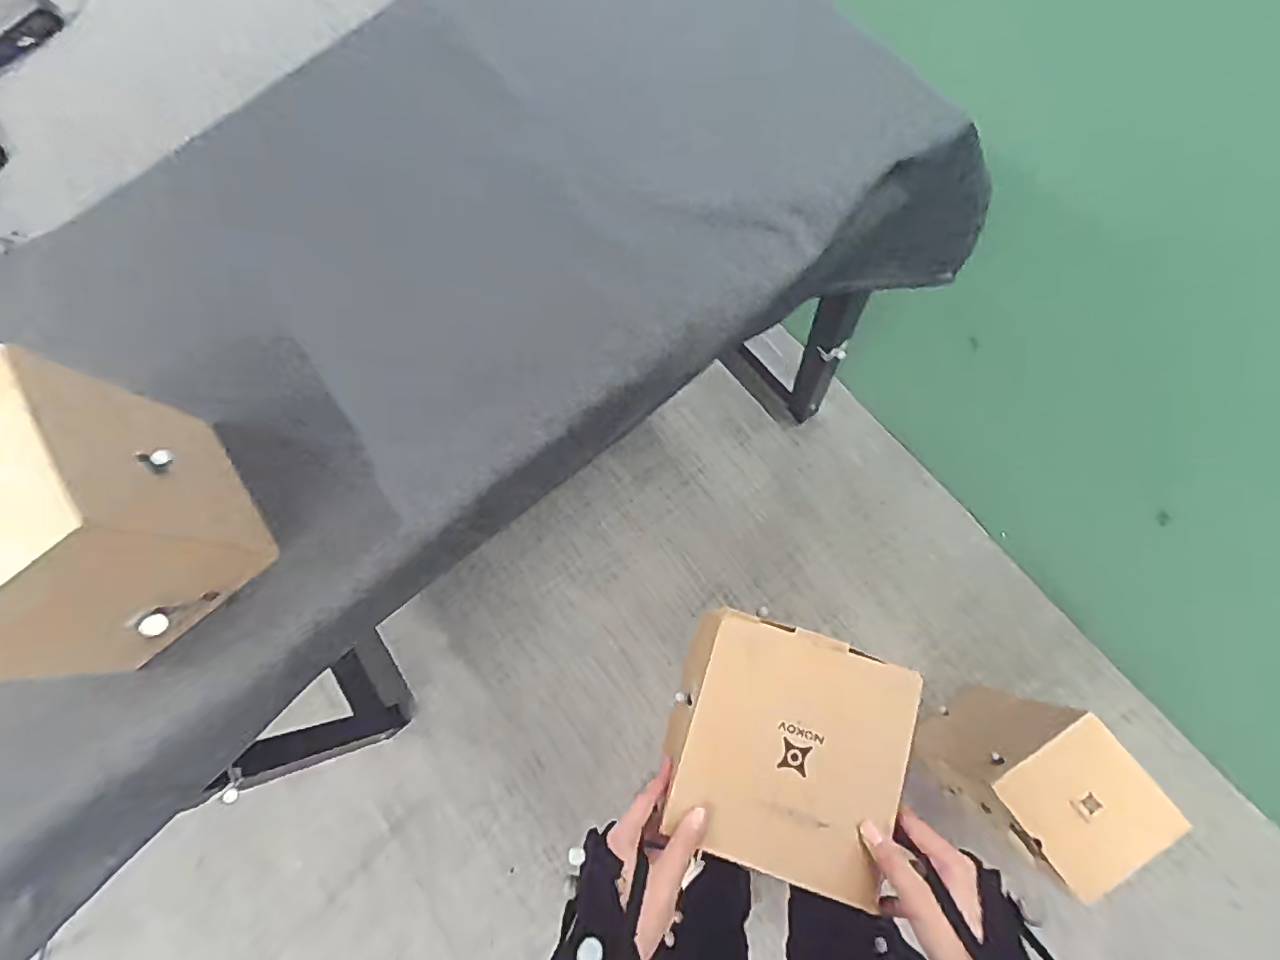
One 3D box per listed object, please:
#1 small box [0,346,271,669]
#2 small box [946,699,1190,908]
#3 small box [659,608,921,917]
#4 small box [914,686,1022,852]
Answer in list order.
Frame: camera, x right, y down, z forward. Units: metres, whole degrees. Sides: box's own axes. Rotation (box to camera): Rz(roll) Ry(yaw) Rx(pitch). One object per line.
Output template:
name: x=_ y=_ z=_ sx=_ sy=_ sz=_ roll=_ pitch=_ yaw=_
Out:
small box: x=-0.453 y=0.036 z=0.432 sx=0.168 sy=0.176 sz=0.179 roll=-39 pitch=74 yaw=-3
small box: x=0.583 y=0.436 z=0.768 sx=0.179 sy=0.176 sz=0.168 roll=-35 pitch=74 yaw=-2
small box: x=0.116 y=0.222 z=0.482 sx=0.168 sy=0.176 sz=0.179 roll=17 pitch=78 yaw=5
small box: x=0.602 y=0.478 z=0.926 sx=0.179 sy=0.176 sz=0.168 roll=-37 pitch=73 yaw=-2
